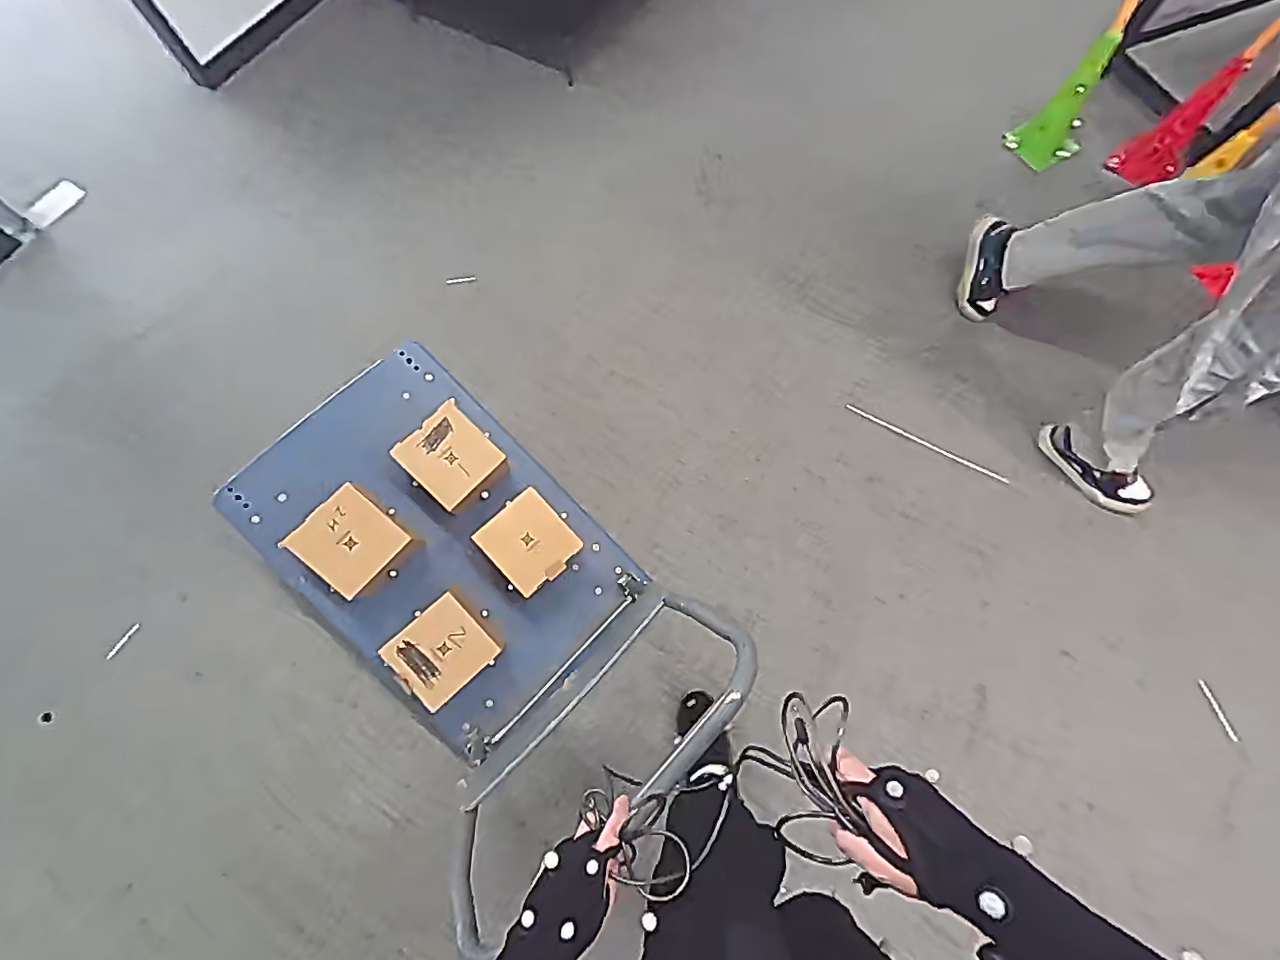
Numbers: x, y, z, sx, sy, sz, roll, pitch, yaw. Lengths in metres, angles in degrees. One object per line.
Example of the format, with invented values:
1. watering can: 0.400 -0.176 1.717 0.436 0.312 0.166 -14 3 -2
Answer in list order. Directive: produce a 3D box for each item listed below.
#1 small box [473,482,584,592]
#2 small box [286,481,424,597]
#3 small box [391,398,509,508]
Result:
1. small box: -0.248 0.131 1.217 0.168 0.176 0.179 -42 92 -12
2. small box: -0.593 0.124 1.155 0.179 0.176 0.168 43 77 -2
3. small box: -0.413 -0.050 1.210 0.179 0.176 0.168 45 78 -3
